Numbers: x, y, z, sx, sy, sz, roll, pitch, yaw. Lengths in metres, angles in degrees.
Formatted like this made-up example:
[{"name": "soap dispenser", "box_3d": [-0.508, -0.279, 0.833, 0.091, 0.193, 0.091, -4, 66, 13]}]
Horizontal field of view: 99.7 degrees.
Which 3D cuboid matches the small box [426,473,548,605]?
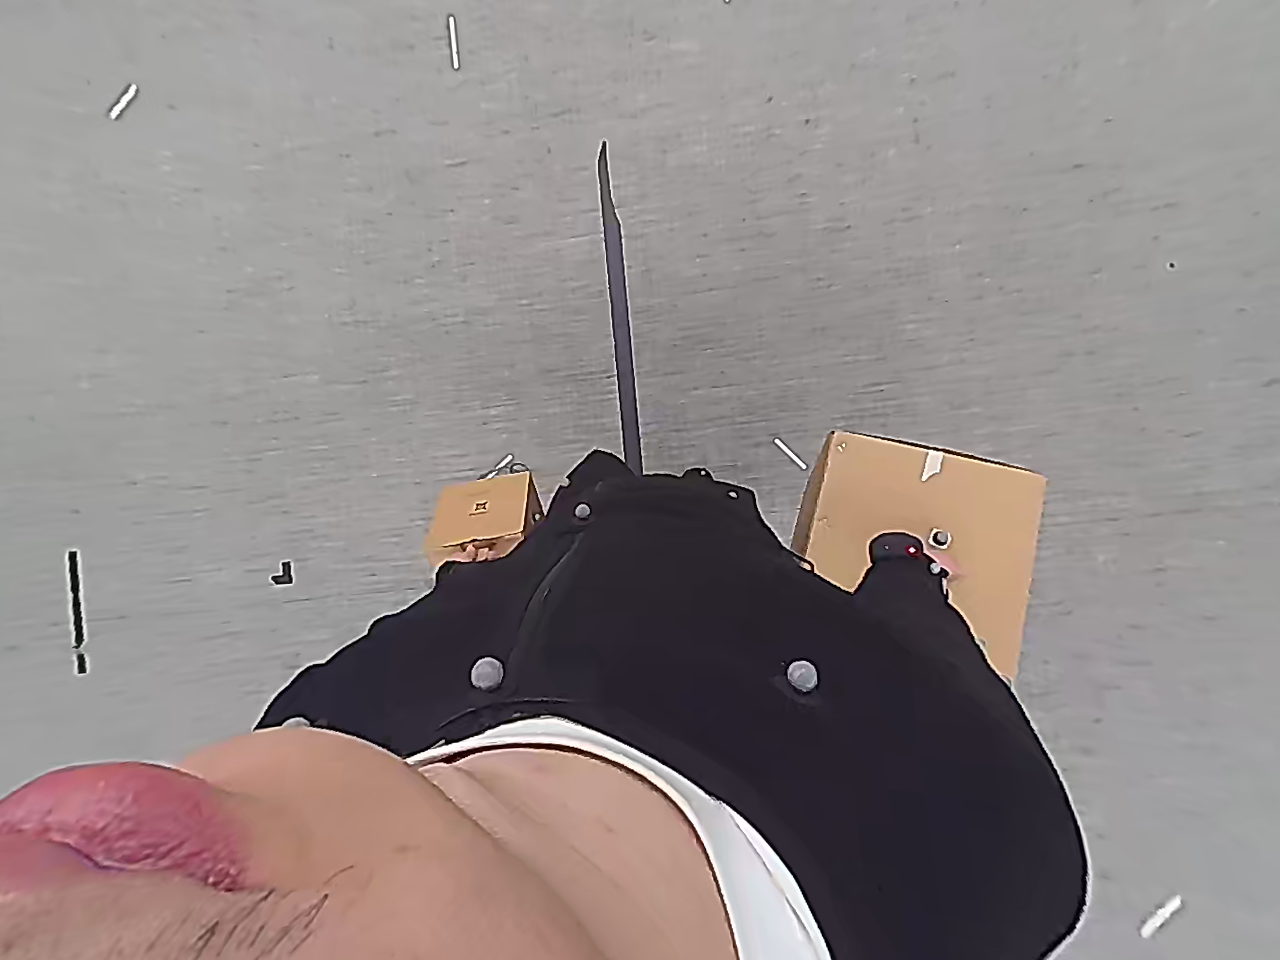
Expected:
[{"name": "small box", "box_3d": [-0.271, 0.115, 1.004, 0.168, 0.179, 0.176, -10, 127, 0]}]
